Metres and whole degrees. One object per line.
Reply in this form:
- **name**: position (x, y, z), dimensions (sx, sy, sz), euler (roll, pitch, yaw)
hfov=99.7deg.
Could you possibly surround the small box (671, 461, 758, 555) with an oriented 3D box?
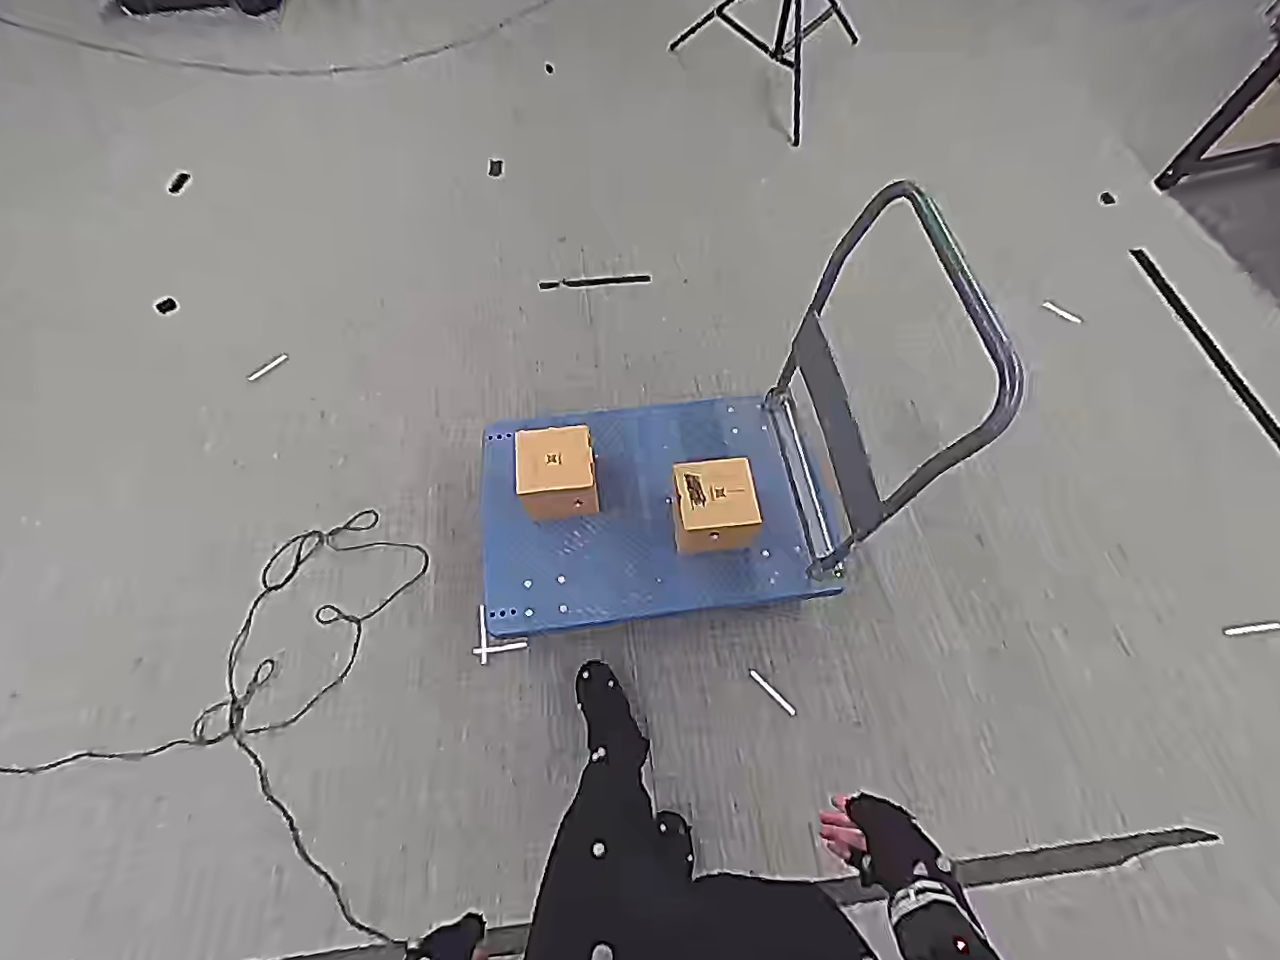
- **small box**: position (0.167, 0.071, 1.283), dimensions (0.179, 0.176, 0.168), euler (-5, 63, -3)

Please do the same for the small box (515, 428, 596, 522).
- **small box**: position (-0.201, -0.008, 1.323), dimensions (0.179, 0.176, 0.168), euler (-7, 63, -3)
